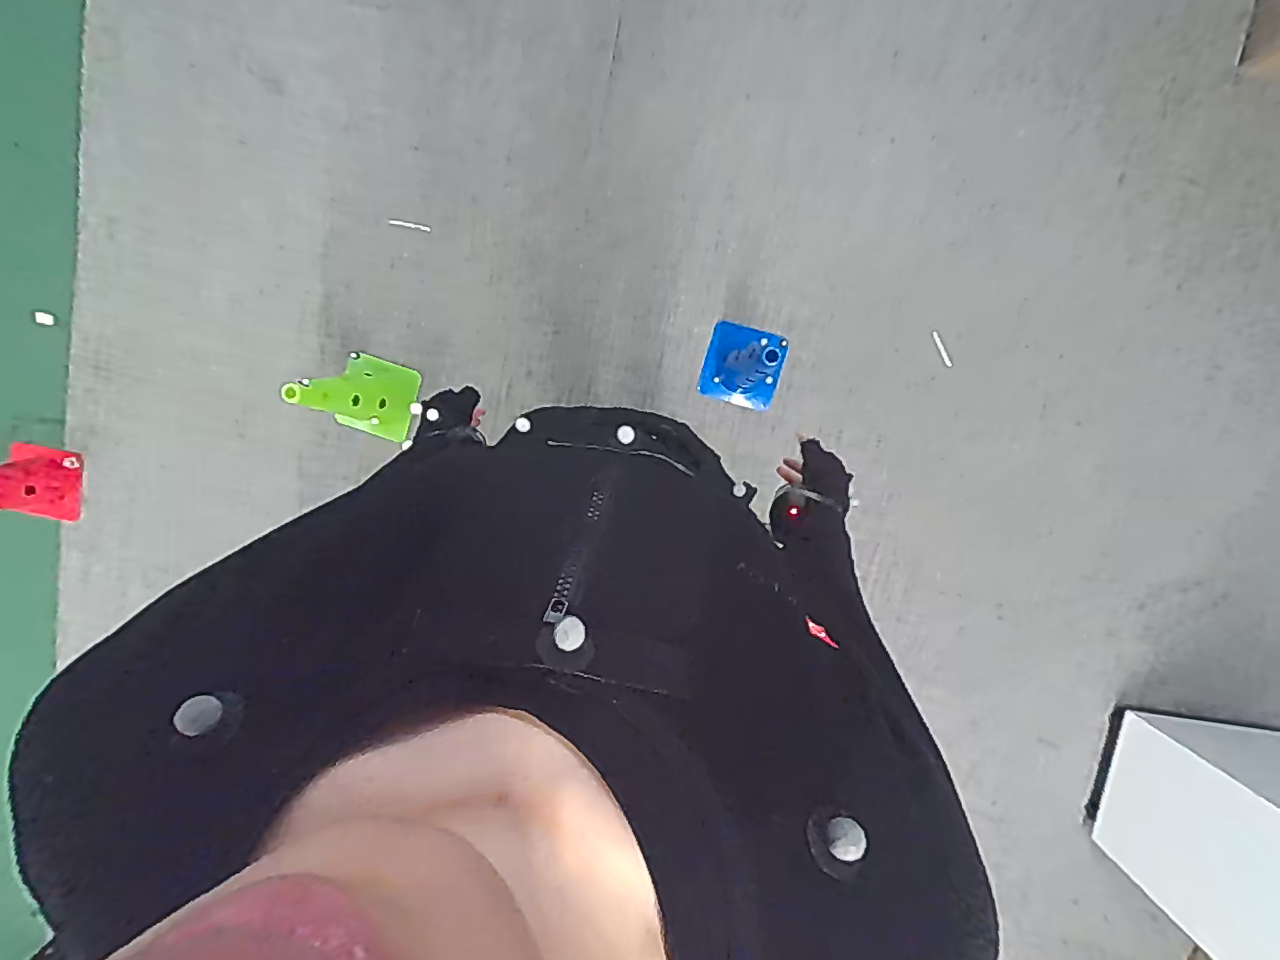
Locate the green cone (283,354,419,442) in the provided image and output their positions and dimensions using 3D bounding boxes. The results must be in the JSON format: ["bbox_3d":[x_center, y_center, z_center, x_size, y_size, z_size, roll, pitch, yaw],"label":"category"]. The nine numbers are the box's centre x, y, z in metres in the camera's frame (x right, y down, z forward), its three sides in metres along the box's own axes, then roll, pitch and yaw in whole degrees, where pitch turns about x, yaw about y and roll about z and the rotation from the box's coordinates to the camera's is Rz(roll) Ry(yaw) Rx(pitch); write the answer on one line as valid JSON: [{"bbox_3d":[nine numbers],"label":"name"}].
[{"bbox_3d":[-0.713,-0.199,1.282,0.202,0.368,0.200,17,97,-1],"label":"green cone"}]
